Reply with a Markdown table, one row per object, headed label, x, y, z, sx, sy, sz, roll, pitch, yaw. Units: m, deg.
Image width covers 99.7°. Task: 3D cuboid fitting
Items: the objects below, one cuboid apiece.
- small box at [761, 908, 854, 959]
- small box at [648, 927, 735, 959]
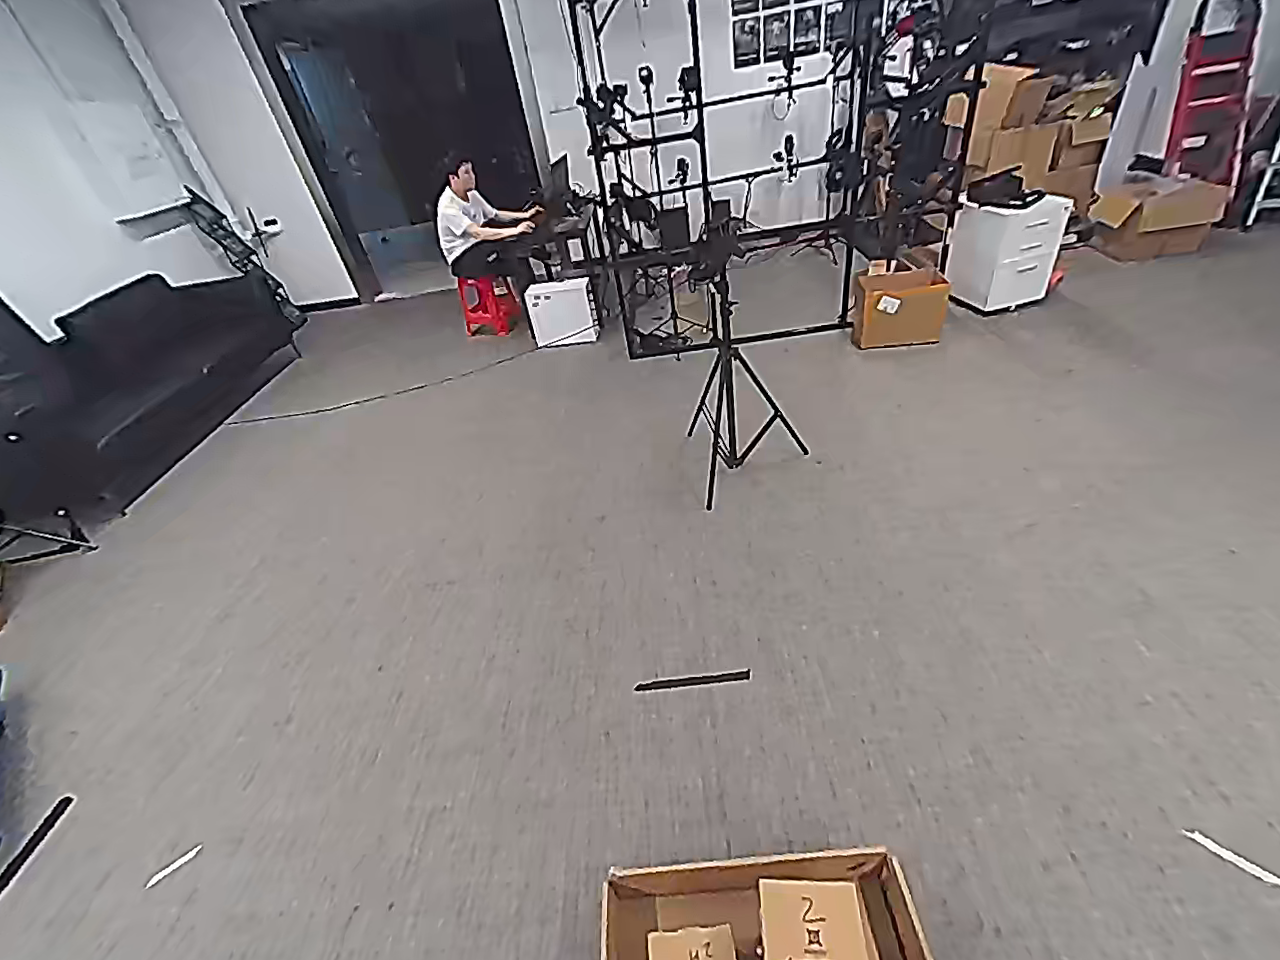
| label | x | y | z | sx | sy | sz | roll | pitch | yaw |
| --- | --- | --- | --- | --- | --- | --- | --- | --- | --- |
| small box | 0.322 | 0.952 | 1.031 | 0.168 | 0.176 | 0.179 | -6 | 38 | 9 |
| small box | 0.108 | 0.988 | 1.028 | 0.168 | 0.176 | 0.179 | -7 | 37 | 1 |
